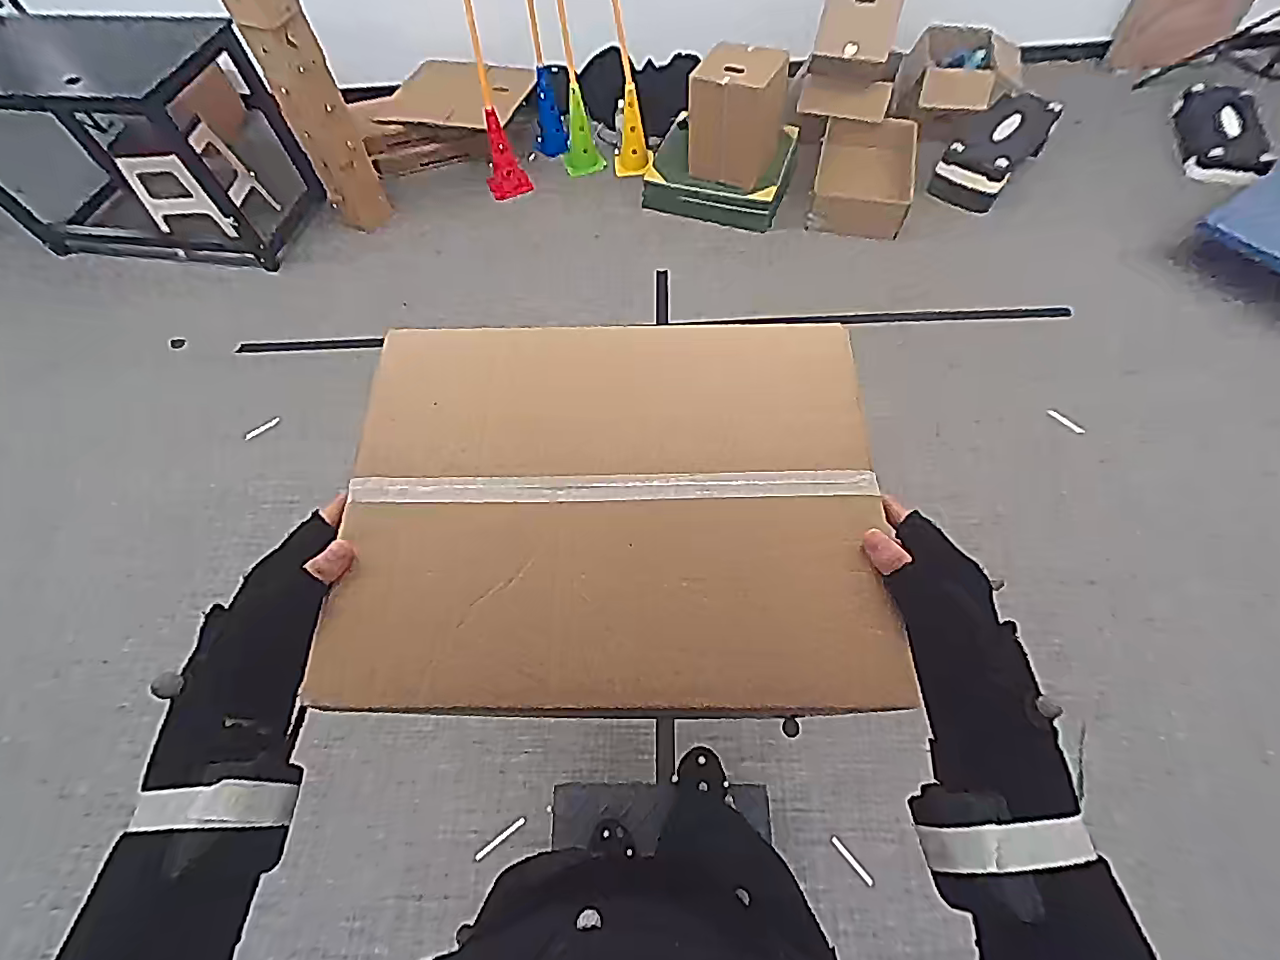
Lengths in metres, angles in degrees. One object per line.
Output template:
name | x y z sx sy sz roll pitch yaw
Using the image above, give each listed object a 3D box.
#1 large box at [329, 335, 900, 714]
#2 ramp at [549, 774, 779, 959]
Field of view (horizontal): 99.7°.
large box | -0.015 0.074 0.566 0.408 0.320 0.320 -1 65 2
ramp | 0.051 1.155 1.093 0.509 0.206 0.991 -2 61 1
